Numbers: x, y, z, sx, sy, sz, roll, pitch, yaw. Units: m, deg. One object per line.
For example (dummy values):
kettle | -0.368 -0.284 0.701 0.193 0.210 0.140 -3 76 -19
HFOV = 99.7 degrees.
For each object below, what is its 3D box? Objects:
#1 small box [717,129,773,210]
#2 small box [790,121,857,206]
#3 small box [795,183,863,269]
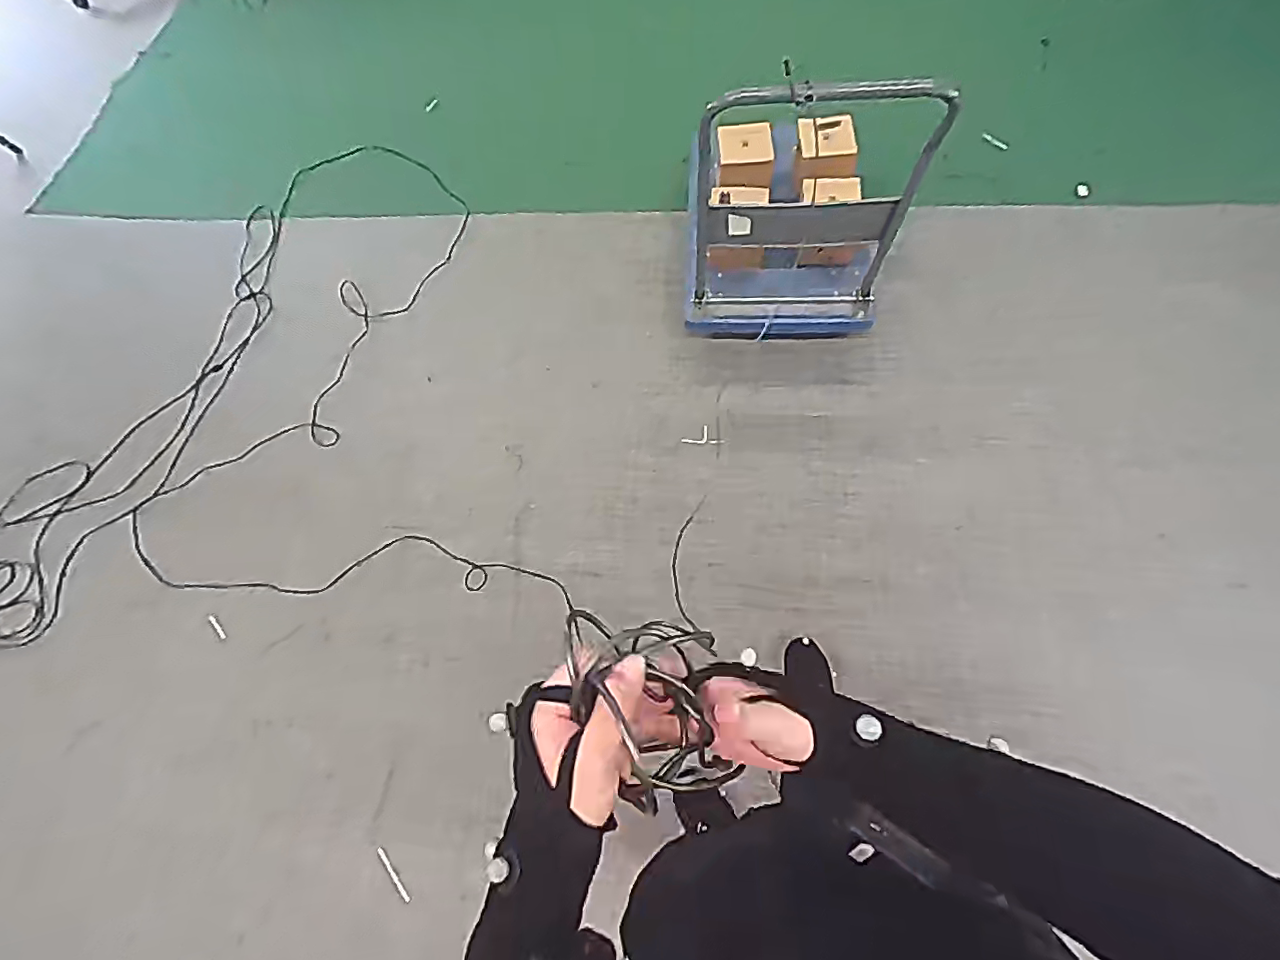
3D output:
small box | 0.342 -1.019 1.791 0.168 0.176 0.179 -2 67 5
small box | 0.592 -1.030 1.768 0.168 0.176 0.179 -2 68 6
small box | 0.574 -0.781 1.665 0.168 0.176 0.179 2 68 7
